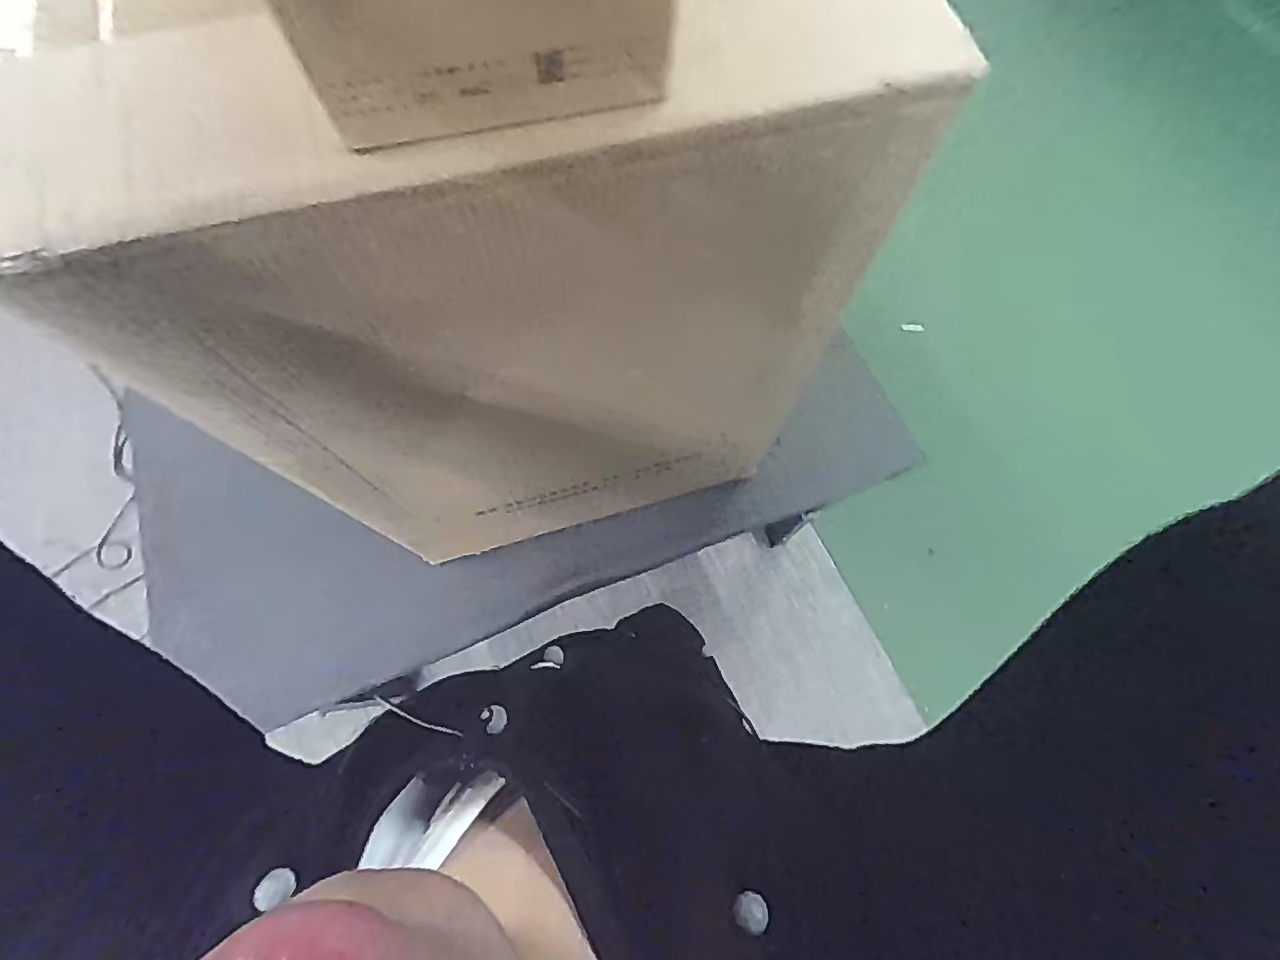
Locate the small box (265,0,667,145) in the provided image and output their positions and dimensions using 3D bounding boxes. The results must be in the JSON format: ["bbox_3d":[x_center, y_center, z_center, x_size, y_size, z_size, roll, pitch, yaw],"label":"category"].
[{"bbox_3d":[-0.084,-0.274,0.227,0.168,0.176,0.179,-15,72,-7],"label":"small box"}]
